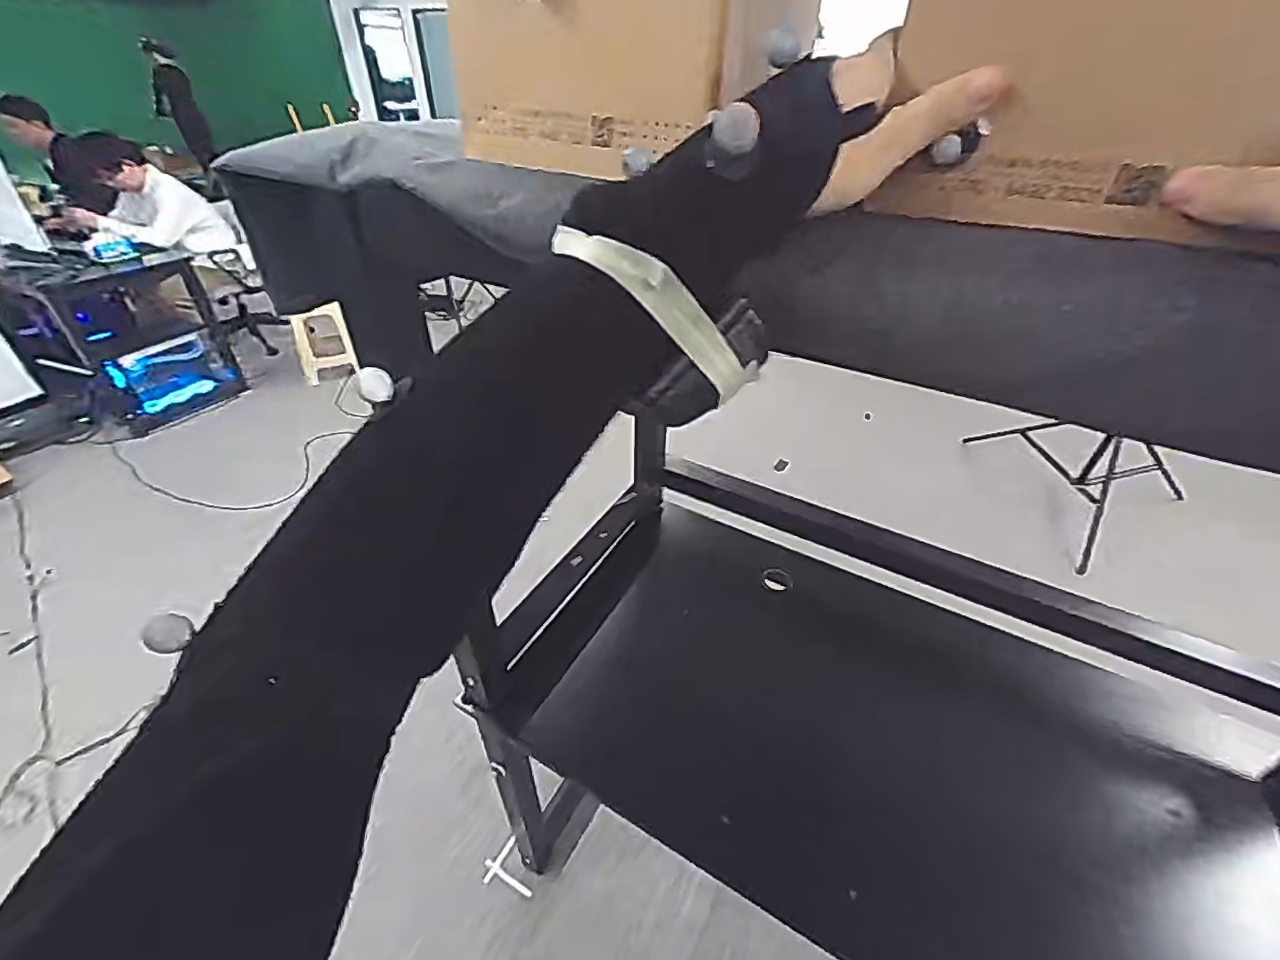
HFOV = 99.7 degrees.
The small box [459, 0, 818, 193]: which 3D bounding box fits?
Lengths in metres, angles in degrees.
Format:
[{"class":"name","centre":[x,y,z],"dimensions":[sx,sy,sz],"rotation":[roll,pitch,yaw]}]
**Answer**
[{"class":"small box","centre":[0.008,-0.281,0.327],"dimensions":[0.168,0.176,0.179],"rotation":[21,39,21]}]
